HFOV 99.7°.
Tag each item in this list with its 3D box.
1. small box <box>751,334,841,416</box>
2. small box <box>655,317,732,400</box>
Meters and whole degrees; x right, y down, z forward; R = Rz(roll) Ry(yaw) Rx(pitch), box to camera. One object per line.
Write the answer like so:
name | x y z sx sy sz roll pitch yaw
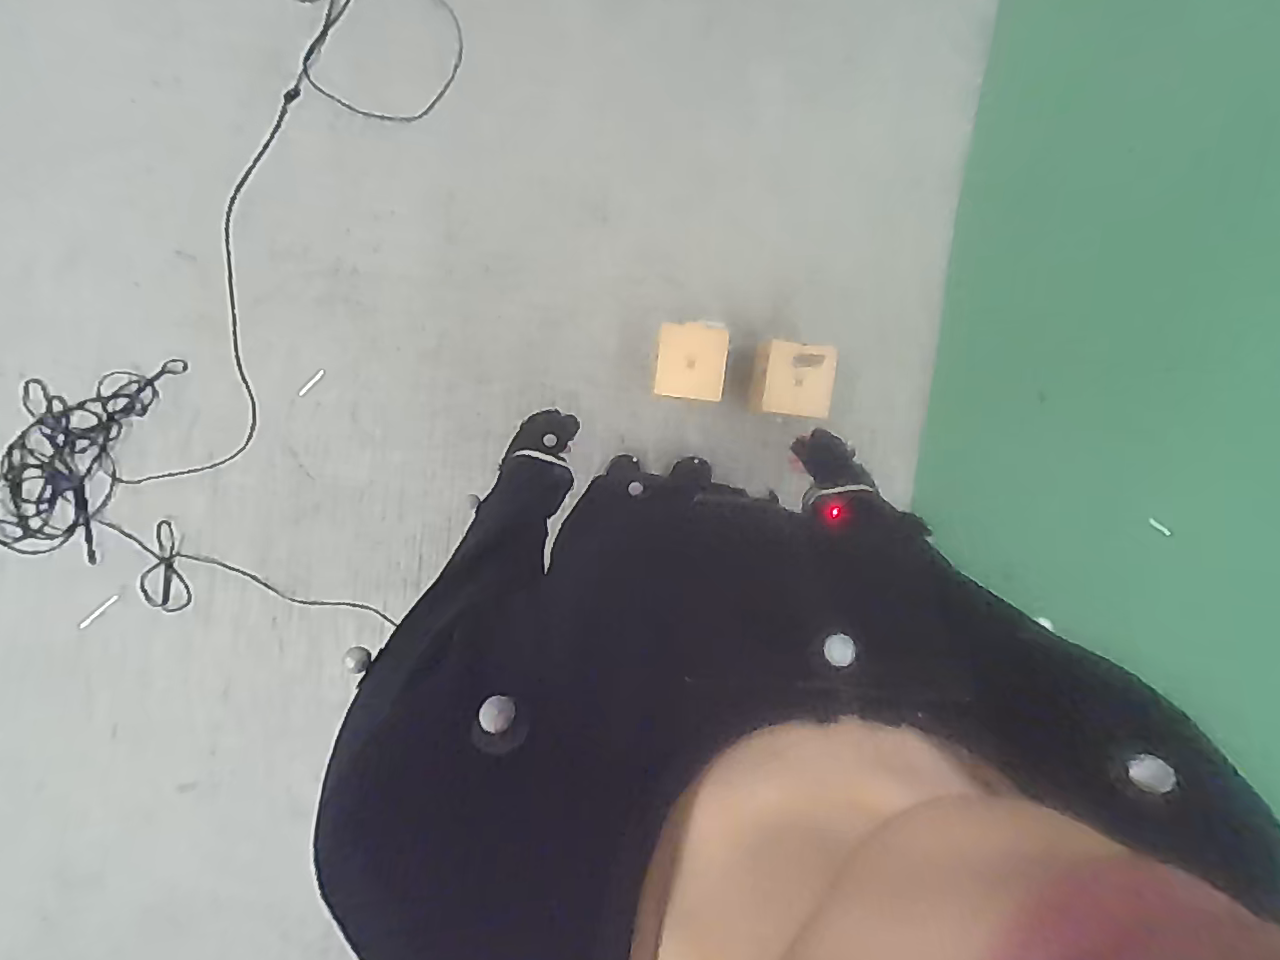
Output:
small box | 0.389 -0.261 1.372 0.168 0.176 0.179 7 96 -1
small box | 0.128 -0.299 1.368 0.168 0.176 0.179 6 95 -1
